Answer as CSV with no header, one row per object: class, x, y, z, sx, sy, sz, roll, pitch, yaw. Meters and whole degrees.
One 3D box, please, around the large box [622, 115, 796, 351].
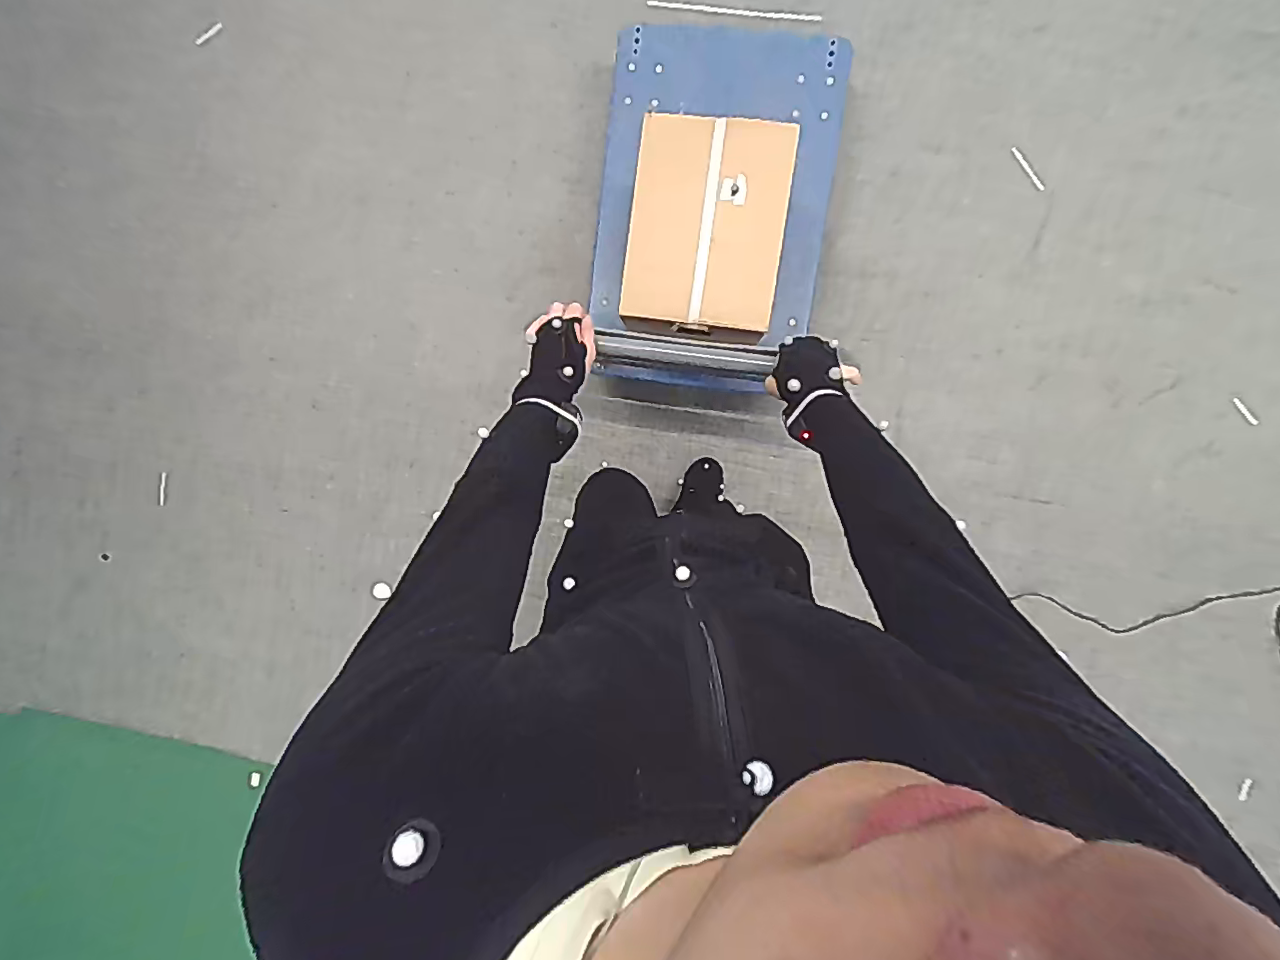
large box,0.152,-0.530,1.236,0.320,0.320,0.408,8,95,5
